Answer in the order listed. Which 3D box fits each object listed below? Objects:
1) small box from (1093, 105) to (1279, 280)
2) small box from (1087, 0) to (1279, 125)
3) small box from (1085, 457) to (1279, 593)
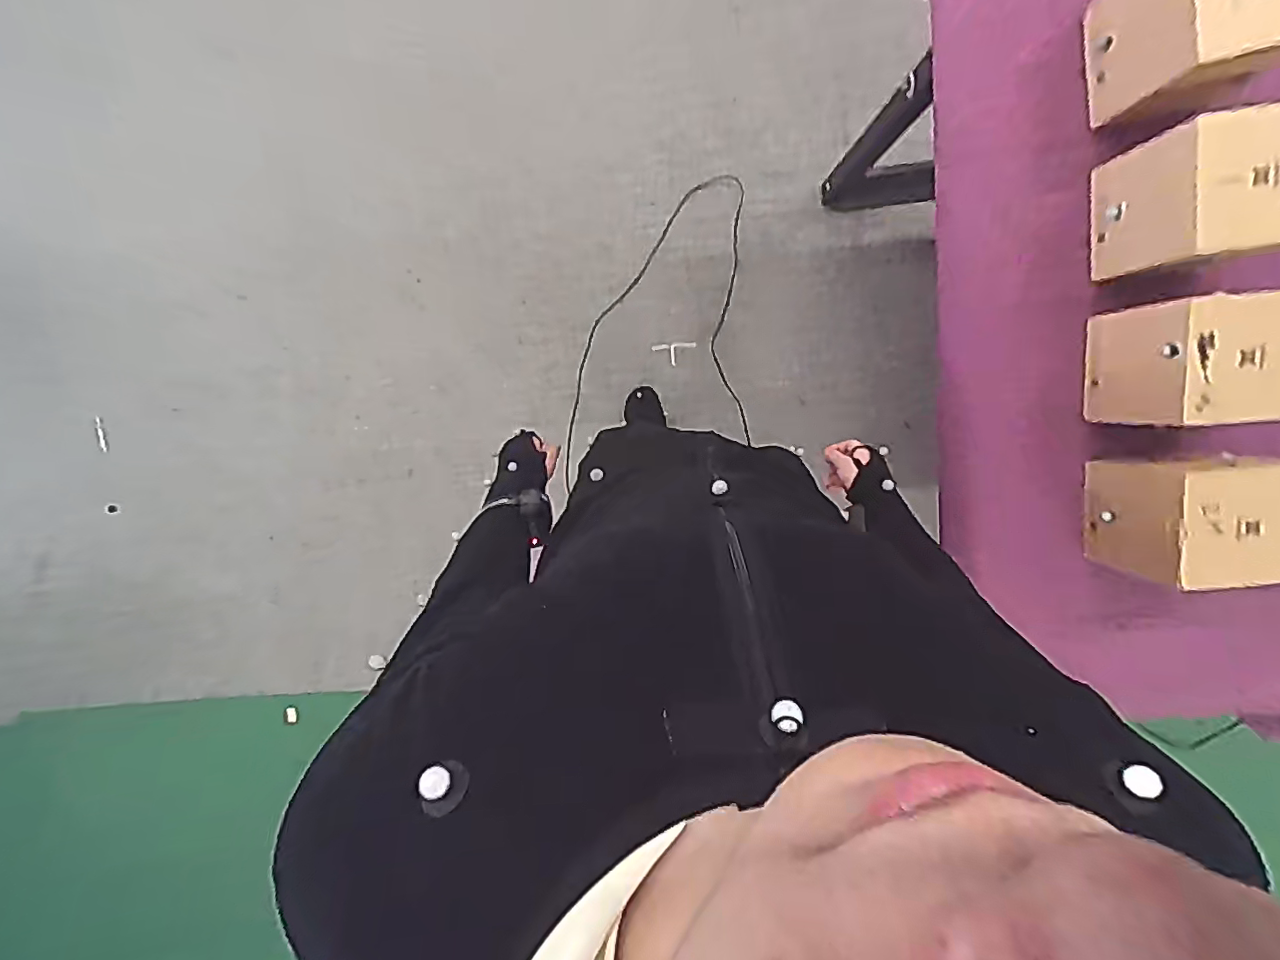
[{"bbox_3d":[0.777,-0.383,0.741,0.179,0.176,0.168,-6,98,3],"label":"small box"},{"bbox_3d":[0.744,-0.606,0.710,0.179,0.176,0.168,-11,97,4],"label":"small box"},{"bbox_3d":[0.818,0.058,0.803,0.179,0.176,0.168,-4,97,2],"label":"small box"}]
